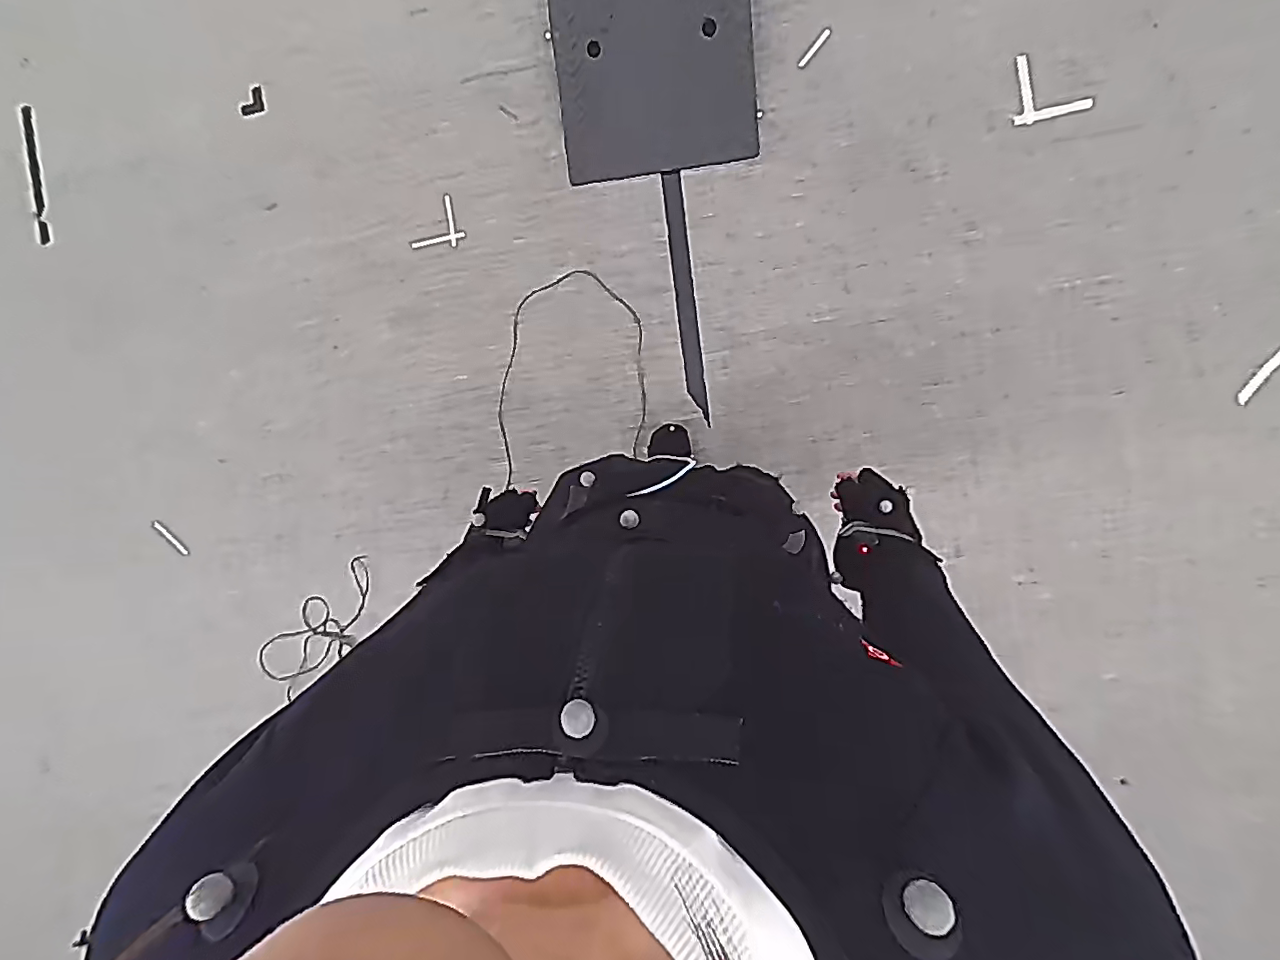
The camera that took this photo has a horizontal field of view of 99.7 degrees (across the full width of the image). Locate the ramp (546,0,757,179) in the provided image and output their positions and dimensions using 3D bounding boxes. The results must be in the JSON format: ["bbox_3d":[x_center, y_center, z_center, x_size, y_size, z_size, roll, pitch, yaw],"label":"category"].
[{"bbox_3d":[0.003,-1.290,1.273,0.509,0.206,0.991,-7,93,6],"label":"ramp"}]
